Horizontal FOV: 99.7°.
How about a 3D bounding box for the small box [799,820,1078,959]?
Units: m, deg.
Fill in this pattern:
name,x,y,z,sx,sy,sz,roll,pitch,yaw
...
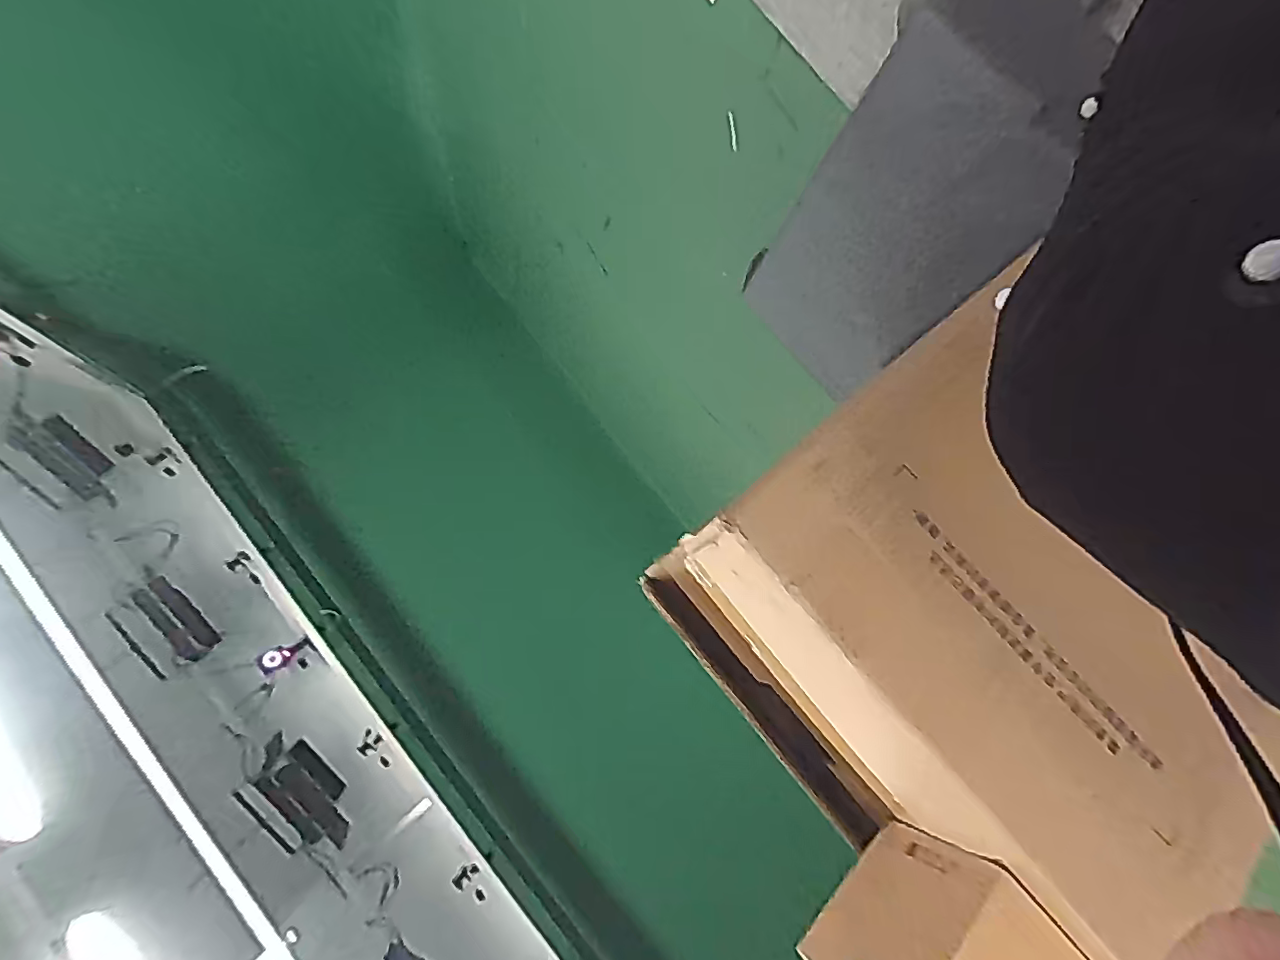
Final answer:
name,x,y,z,sx,sy,sz,roll,pitch,yaw
small box,0.291,0.464,0.493,0.179,0.176,0.168,47,159,7
